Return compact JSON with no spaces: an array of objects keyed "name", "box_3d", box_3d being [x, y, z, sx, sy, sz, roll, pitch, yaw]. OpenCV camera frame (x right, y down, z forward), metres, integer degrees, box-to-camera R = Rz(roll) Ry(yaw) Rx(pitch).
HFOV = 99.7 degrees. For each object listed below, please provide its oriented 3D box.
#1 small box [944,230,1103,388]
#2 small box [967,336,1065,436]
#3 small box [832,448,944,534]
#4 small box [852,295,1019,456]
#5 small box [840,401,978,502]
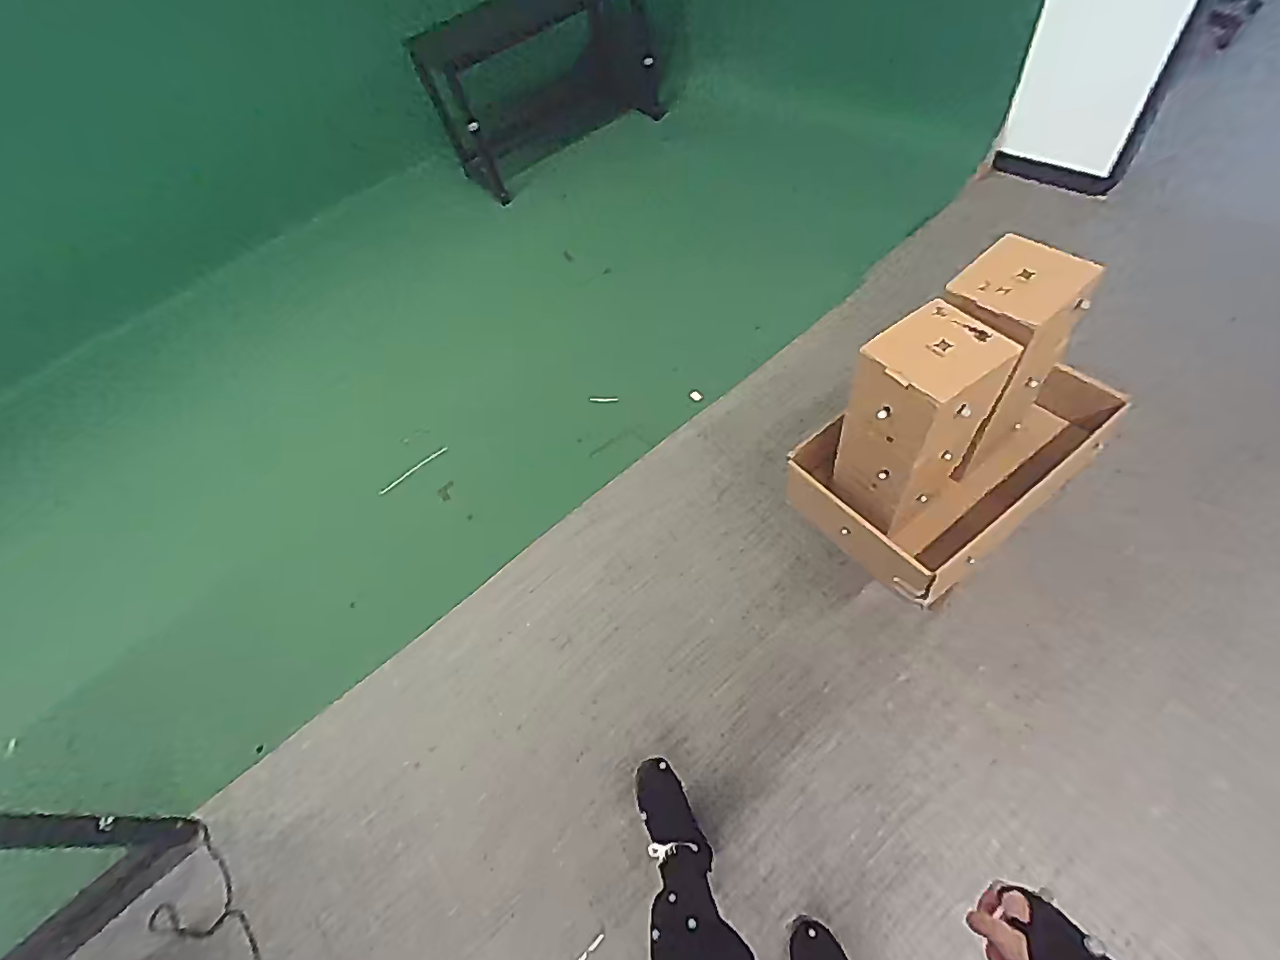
[{"name":"small box","box_3d":[0.658,-0.303,0.972,0.179,0.176,0.168,-38,57,-9]},{"name":"small box","box_3d":[0.706,-0.228,1.113,0.179,0.176,0.168,-37,58,-7]},{"name":"small box","box_3d":[0.548,-0.011,1.202,0.179,0.176,0.168,-35,57,-11]},{"name":"small box","box_3d":[0.486,-0.172,0.925,0.179,0.176,0.168,-32,58,-8]},{"name":"small box","box_3d":[0.515,-0.087,1.062,0.179,0.176,0.168,-33,57,-9]}]
